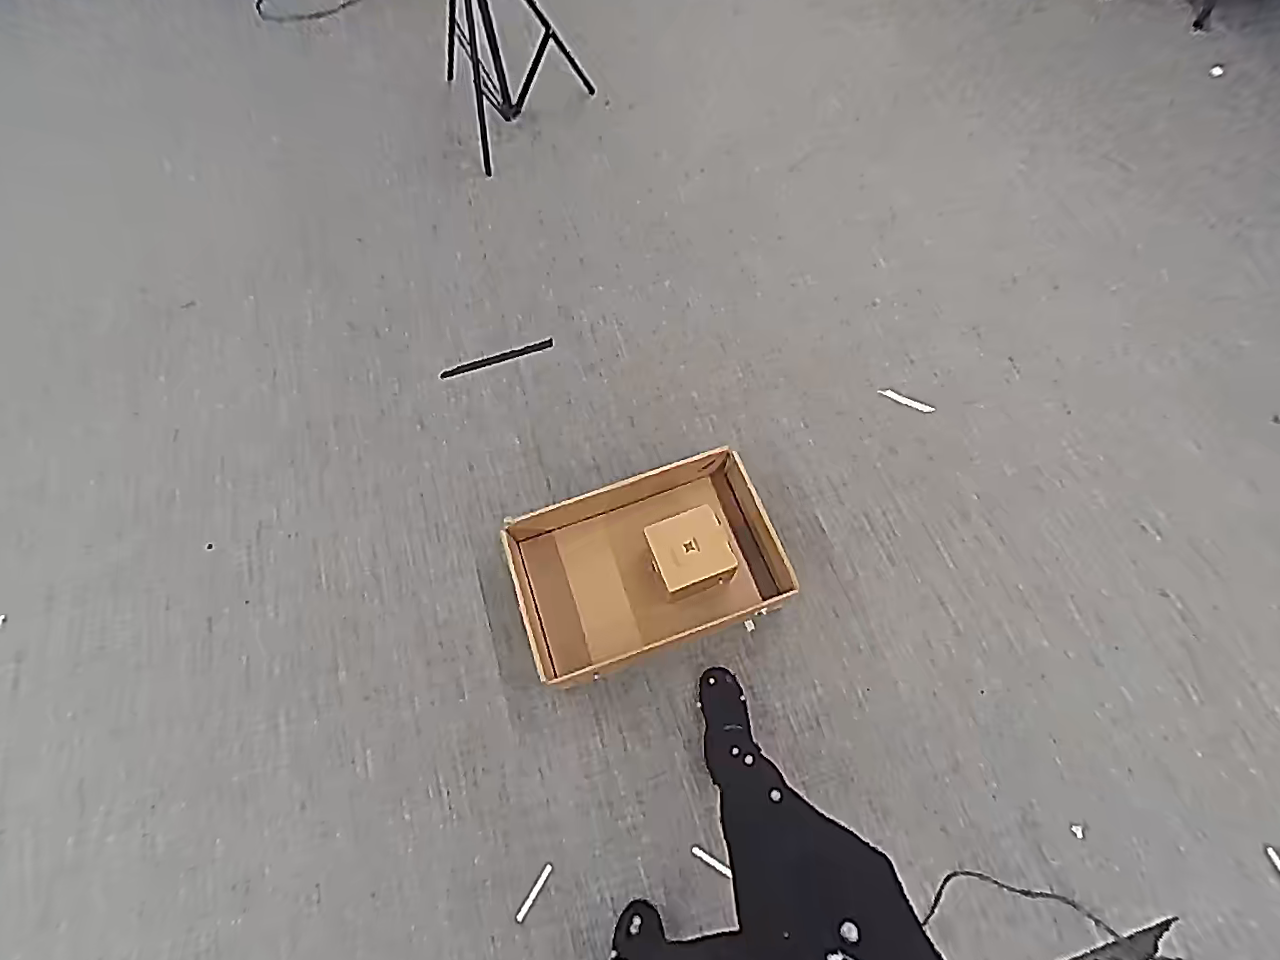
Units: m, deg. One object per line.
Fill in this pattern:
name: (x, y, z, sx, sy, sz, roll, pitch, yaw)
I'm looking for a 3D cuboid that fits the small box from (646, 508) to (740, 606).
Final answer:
small box: (0.123, 0.193, 1.322, 0.179, 0.176, 0.168, -21, 68, -5)
